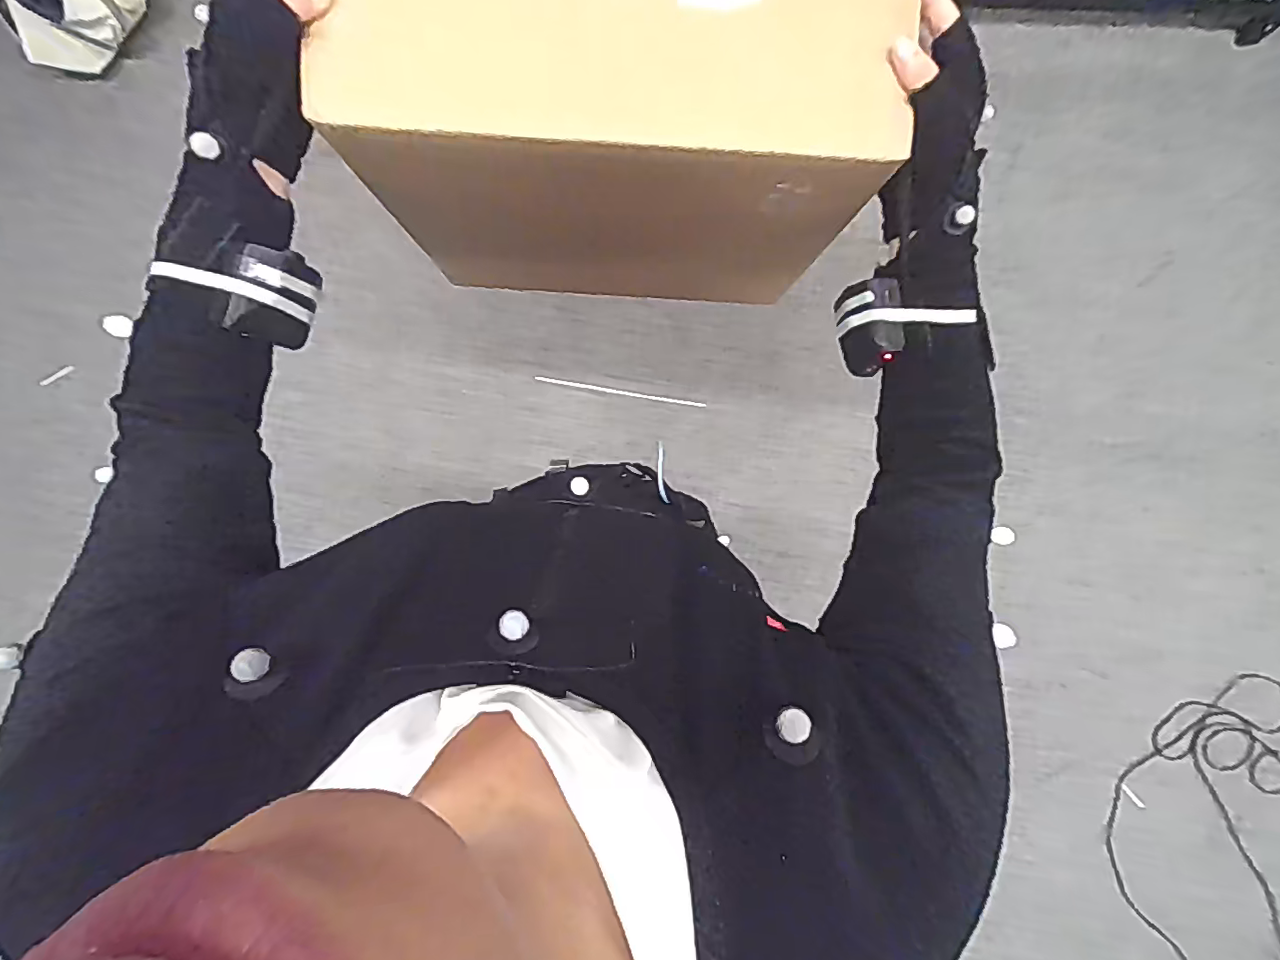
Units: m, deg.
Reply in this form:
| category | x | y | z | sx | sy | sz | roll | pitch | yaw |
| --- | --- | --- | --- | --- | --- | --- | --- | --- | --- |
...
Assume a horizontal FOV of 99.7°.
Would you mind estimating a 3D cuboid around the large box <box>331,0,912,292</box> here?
| category | x | y | z | sx | sy | sz | roll | pitch | yaw |
| --- | --- | --- | --- | --- | --- | --- | --- | --- | --- |
| large box | -0.014 | -0.388 | 0.518 | 0.408 | 0.320 | 0.320 | 2 | 91 | -3 |
